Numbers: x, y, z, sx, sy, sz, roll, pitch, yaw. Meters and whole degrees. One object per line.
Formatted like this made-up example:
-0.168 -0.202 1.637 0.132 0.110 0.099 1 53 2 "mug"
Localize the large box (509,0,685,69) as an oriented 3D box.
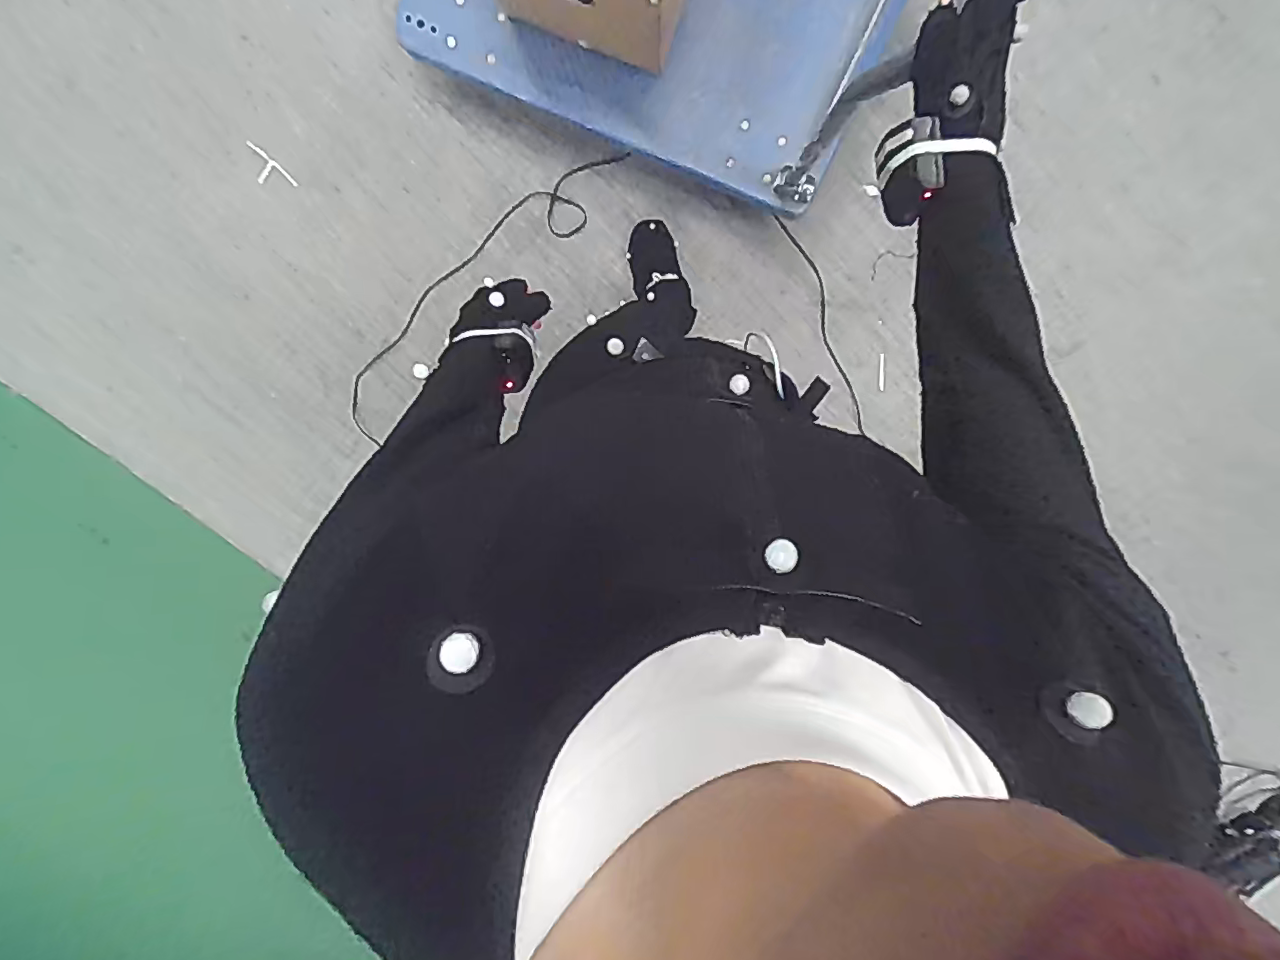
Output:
-0.038 -0.950 0.816 0.320 0.320 0.408 18 111 -4 "large box"
